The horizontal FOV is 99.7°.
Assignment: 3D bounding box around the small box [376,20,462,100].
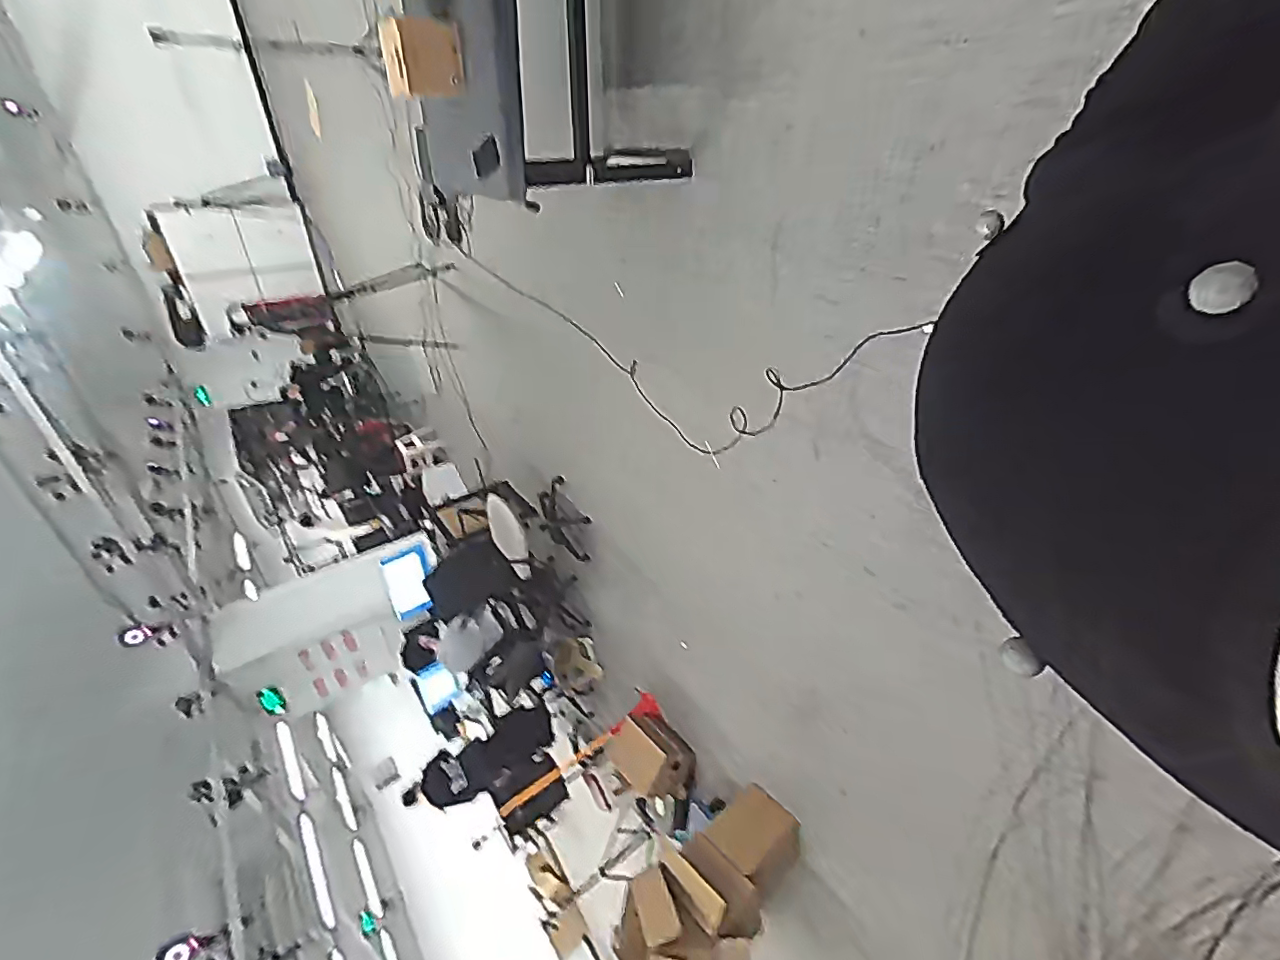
[{"bbox_3d":[-0.616,-1.180,1.527,0.179,0.176,0.168,36,137,42],"label":"small box"}]
